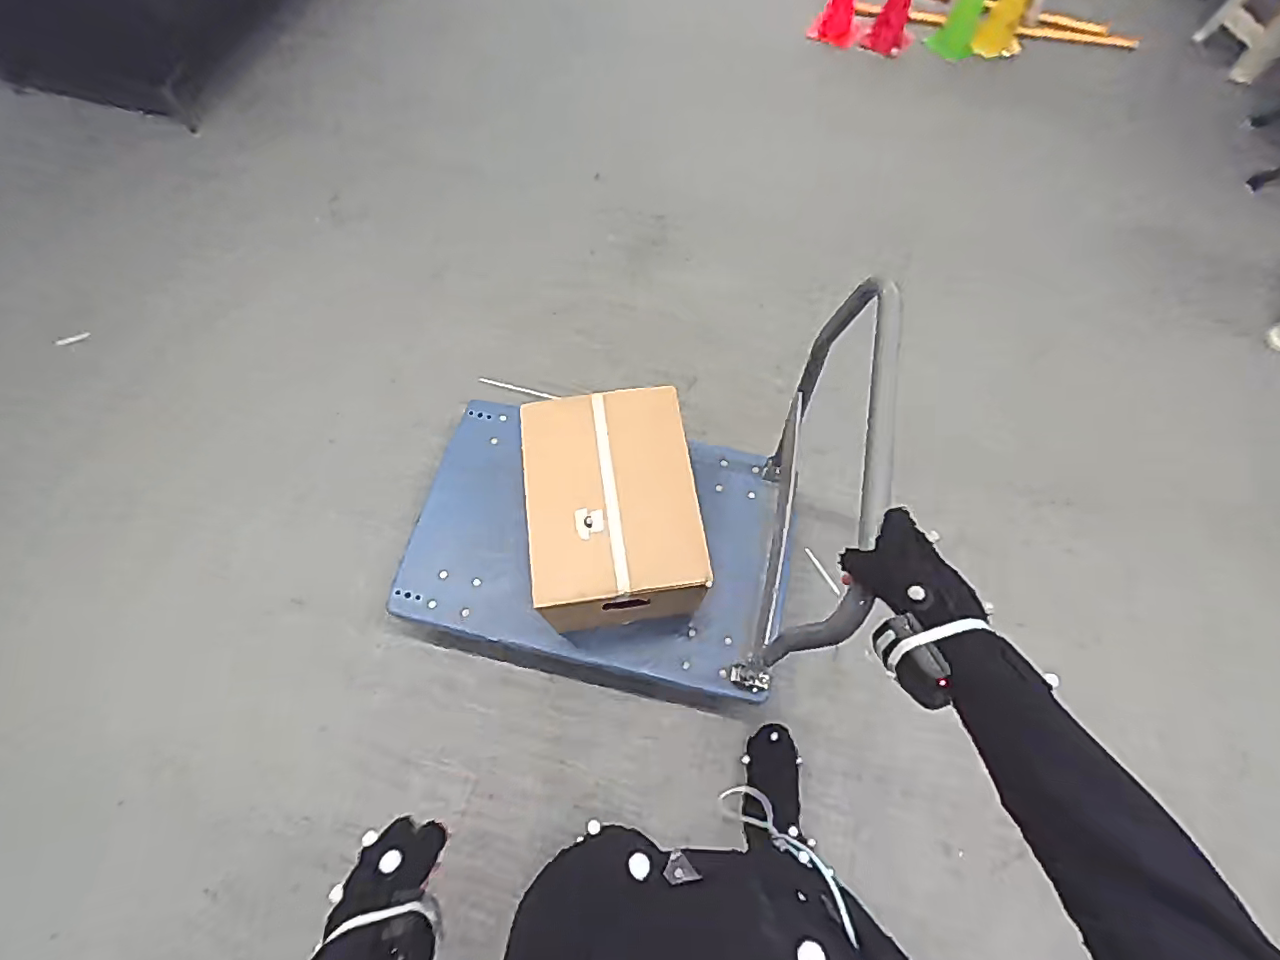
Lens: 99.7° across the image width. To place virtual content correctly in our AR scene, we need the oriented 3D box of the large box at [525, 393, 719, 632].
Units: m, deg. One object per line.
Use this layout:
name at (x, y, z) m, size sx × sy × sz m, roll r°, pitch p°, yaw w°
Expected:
large box at (-0.047, 0.080, 1.148) m, size 0.320 × 0.320 × 0.408 m, roll -9°, pitch 68°, yaw -3°
